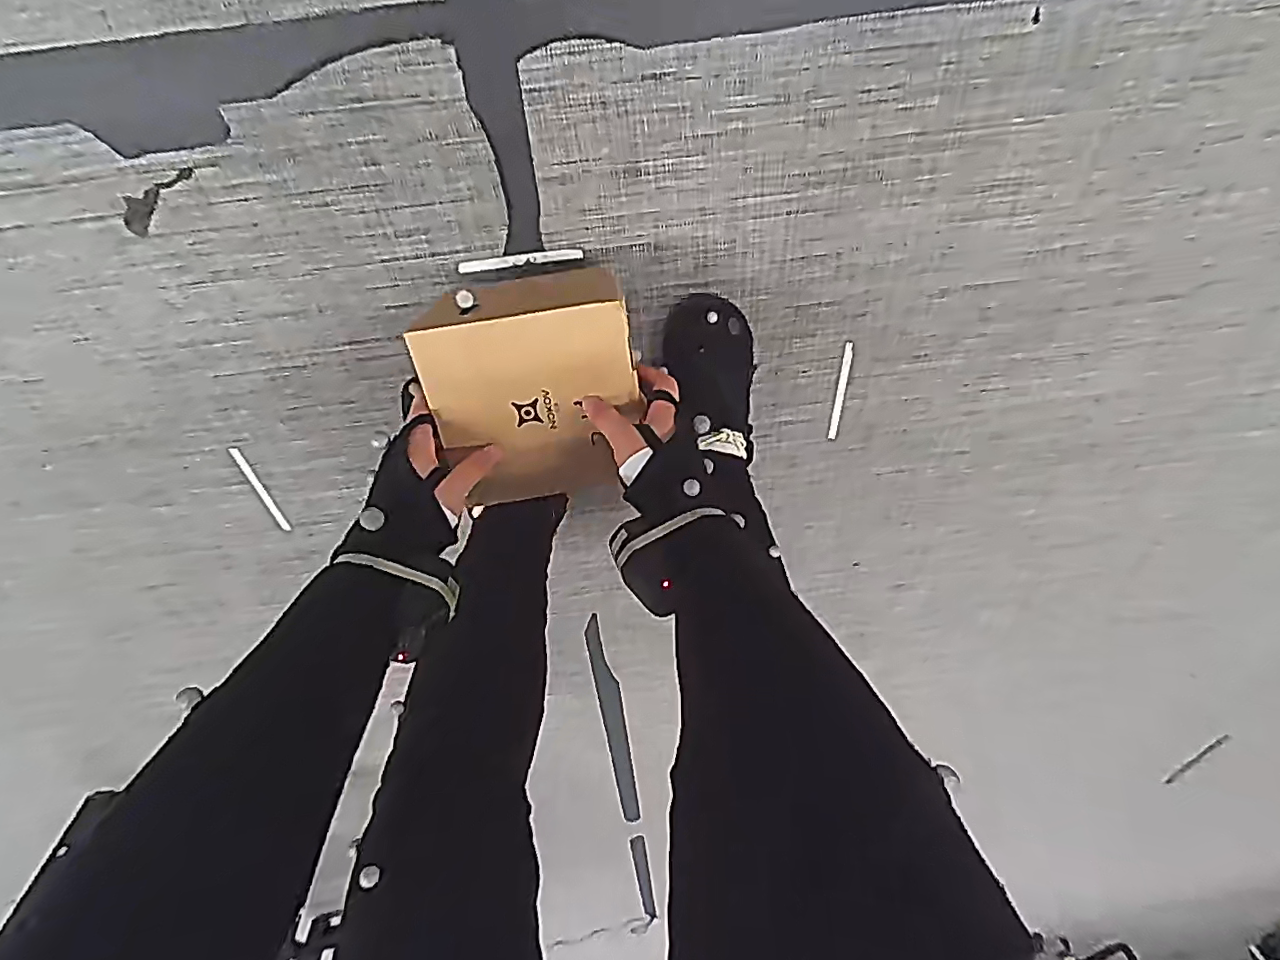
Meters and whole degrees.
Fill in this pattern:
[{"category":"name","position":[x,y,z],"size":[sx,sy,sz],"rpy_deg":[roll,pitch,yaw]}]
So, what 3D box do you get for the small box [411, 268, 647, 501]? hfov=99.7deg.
[{"category":"small box","position":[-0.096,-0.102,0.533],"size":[0.179,0.176,0.168],"rpy_deg":[-10,121,-4]}]
